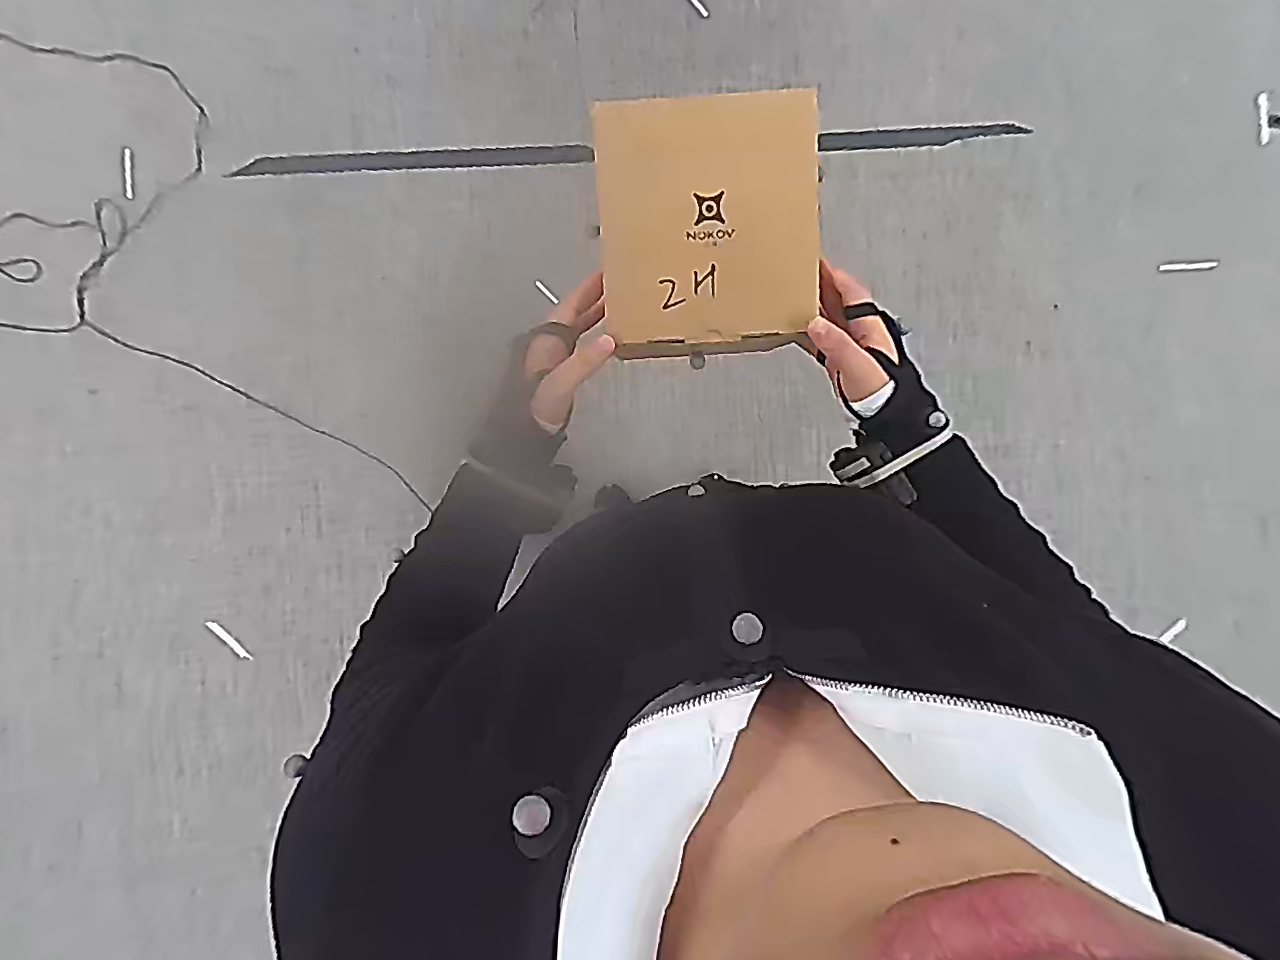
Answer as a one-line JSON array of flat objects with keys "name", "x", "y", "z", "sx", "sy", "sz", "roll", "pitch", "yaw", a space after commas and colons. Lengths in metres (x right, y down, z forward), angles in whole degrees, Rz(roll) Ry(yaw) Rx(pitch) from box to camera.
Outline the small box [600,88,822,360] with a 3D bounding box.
[{"name": "small box", "x": 0.054, "y": -0.207, "z": 0.485, "sx": 0.168, "sy": 0.176, "sz": 0.179, "roll": -3, "pitch": 98, "yaw": 1}]
